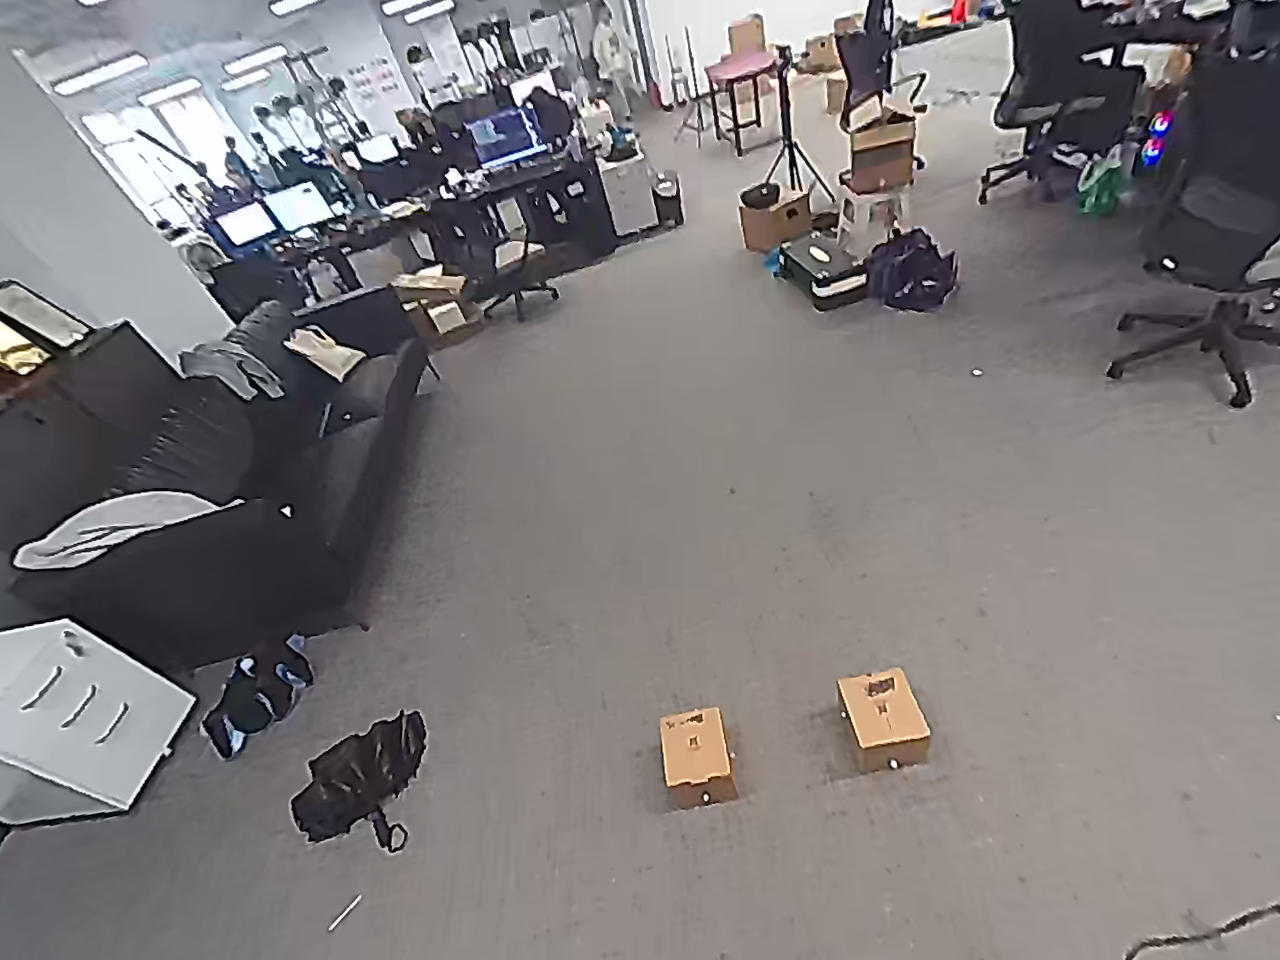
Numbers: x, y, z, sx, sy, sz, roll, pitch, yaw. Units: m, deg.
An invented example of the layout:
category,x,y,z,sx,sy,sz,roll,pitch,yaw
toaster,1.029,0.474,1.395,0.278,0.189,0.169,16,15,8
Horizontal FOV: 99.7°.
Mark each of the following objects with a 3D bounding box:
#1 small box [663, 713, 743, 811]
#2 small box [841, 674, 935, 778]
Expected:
category,x,y,z,sx,sy,sz,roll,pitch,yaw
small box,0.167,0.754,1.434,0.168,0.176,0.179,-14,39,7
small box,0.625,0.629,1.382,0.168,0.176,0.179,-15,41,8
